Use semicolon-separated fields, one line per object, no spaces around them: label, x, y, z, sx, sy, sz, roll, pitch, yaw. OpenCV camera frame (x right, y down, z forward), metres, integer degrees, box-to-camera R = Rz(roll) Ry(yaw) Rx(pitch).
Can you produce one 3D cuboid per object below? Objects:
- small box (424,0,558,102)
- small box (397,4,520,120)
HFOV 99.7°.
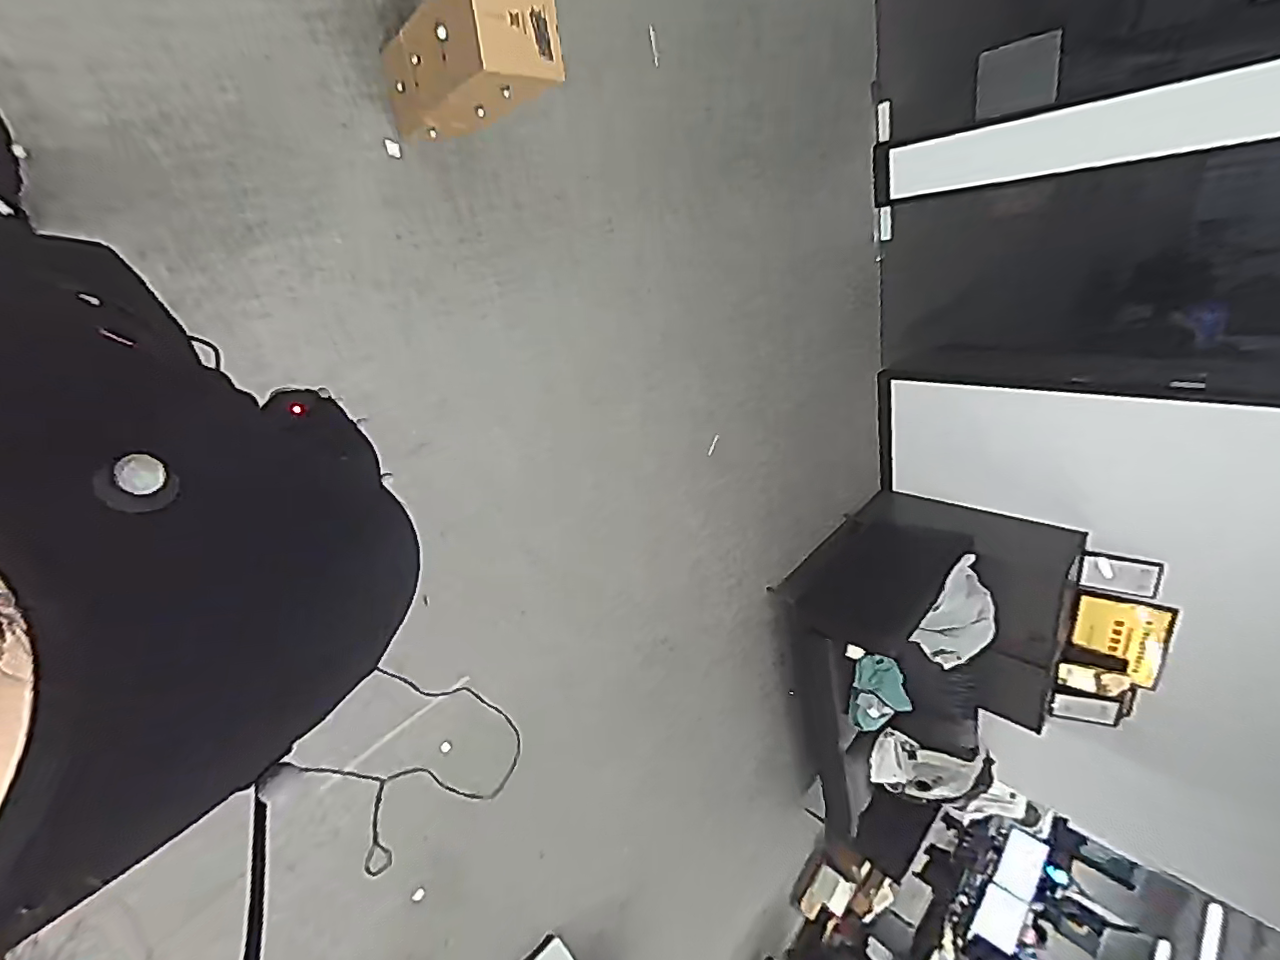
small box;-0.281;-0.841;1.027;0.179;0.176;0.168;-21;117;-35
small box;-0.384;-0.882;1.148;0.179;0.176;0.168;-24;119;-35
